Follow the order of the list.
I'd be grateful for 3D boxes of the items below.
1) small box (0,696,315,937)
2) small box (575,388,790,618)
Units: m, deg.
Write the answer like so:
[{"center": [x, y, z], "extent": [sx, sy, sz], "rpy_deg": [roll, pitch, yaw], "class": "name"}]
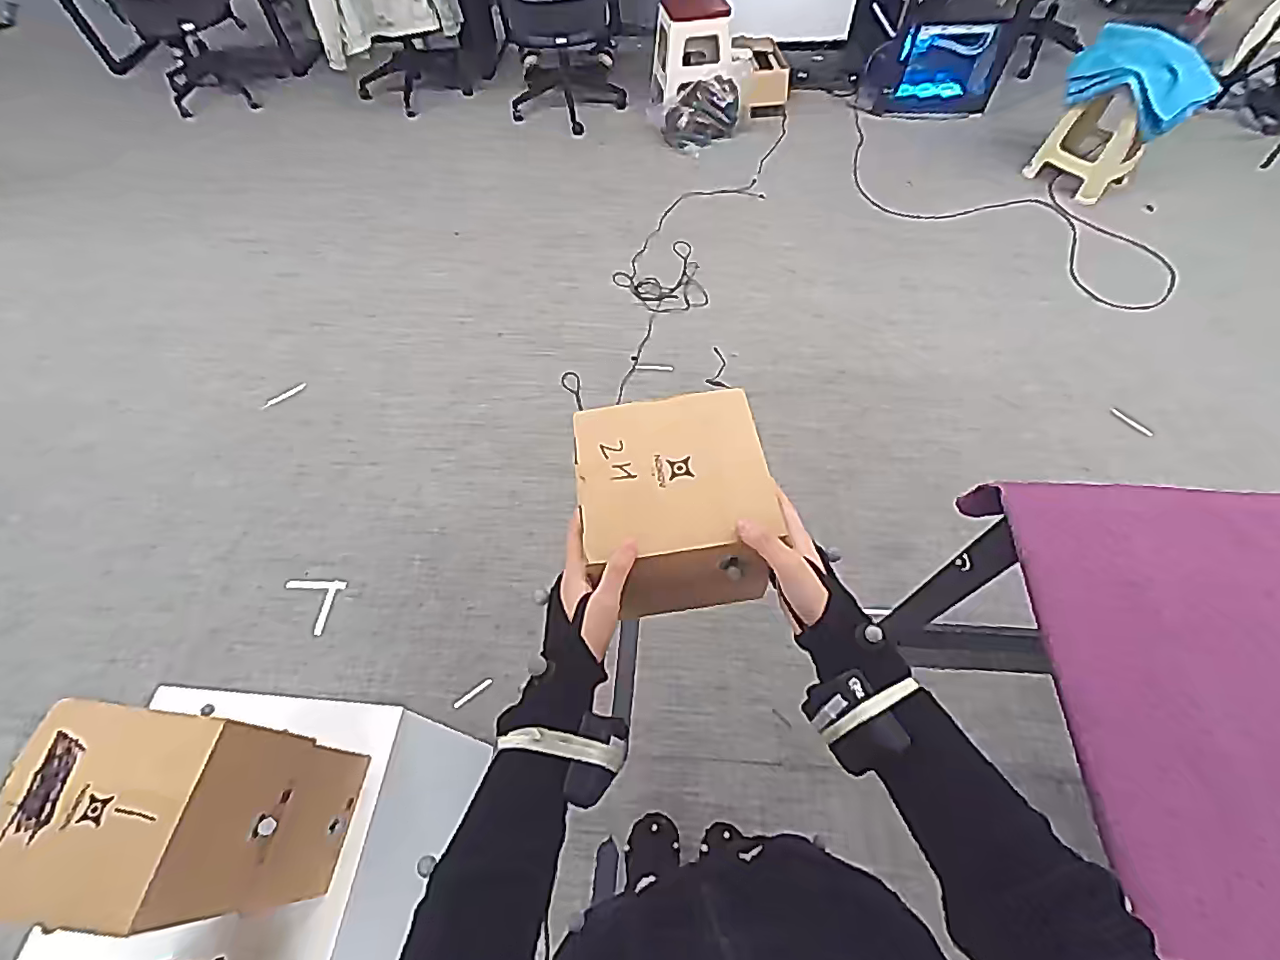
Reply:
[{"center": [-0.479, 0.327, 0.543], "extent": [0.179, 0.176, 0.168], "rpy_deg": [5, 59, 4], "class": "small box"}, {"center": [0.036, 0.031, 0.558], "extent": [0.179, 0.176, 0.168], "rpy_deg": [-9, 58, 0], "class": "small box"}]
